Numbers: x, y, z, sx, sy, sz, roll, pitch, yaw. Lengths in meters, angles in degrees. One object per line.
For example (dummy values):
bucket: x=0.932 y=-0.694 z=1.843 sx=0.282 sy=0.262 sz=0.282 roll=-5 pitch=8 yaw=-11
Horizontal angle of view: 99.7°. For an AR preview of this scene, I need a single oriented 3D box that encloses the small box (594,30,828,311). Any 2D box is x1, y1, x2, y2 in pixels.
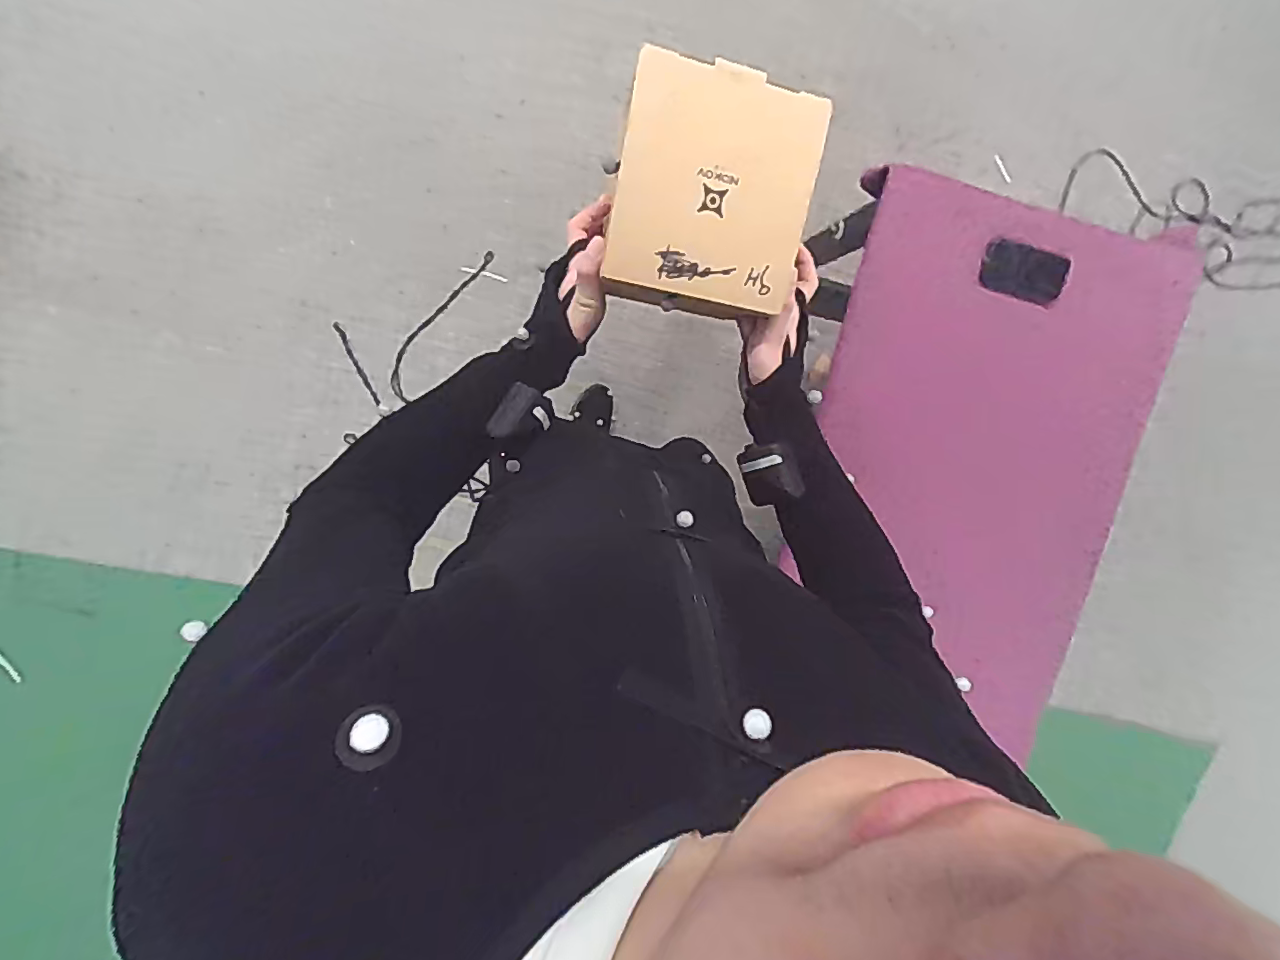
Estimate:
small box: x=0.049 y=-0.269 z=0.520 sx=0.168 sy=0.176 sz=0.179 roll=9 pitch=104 yaw=-9
